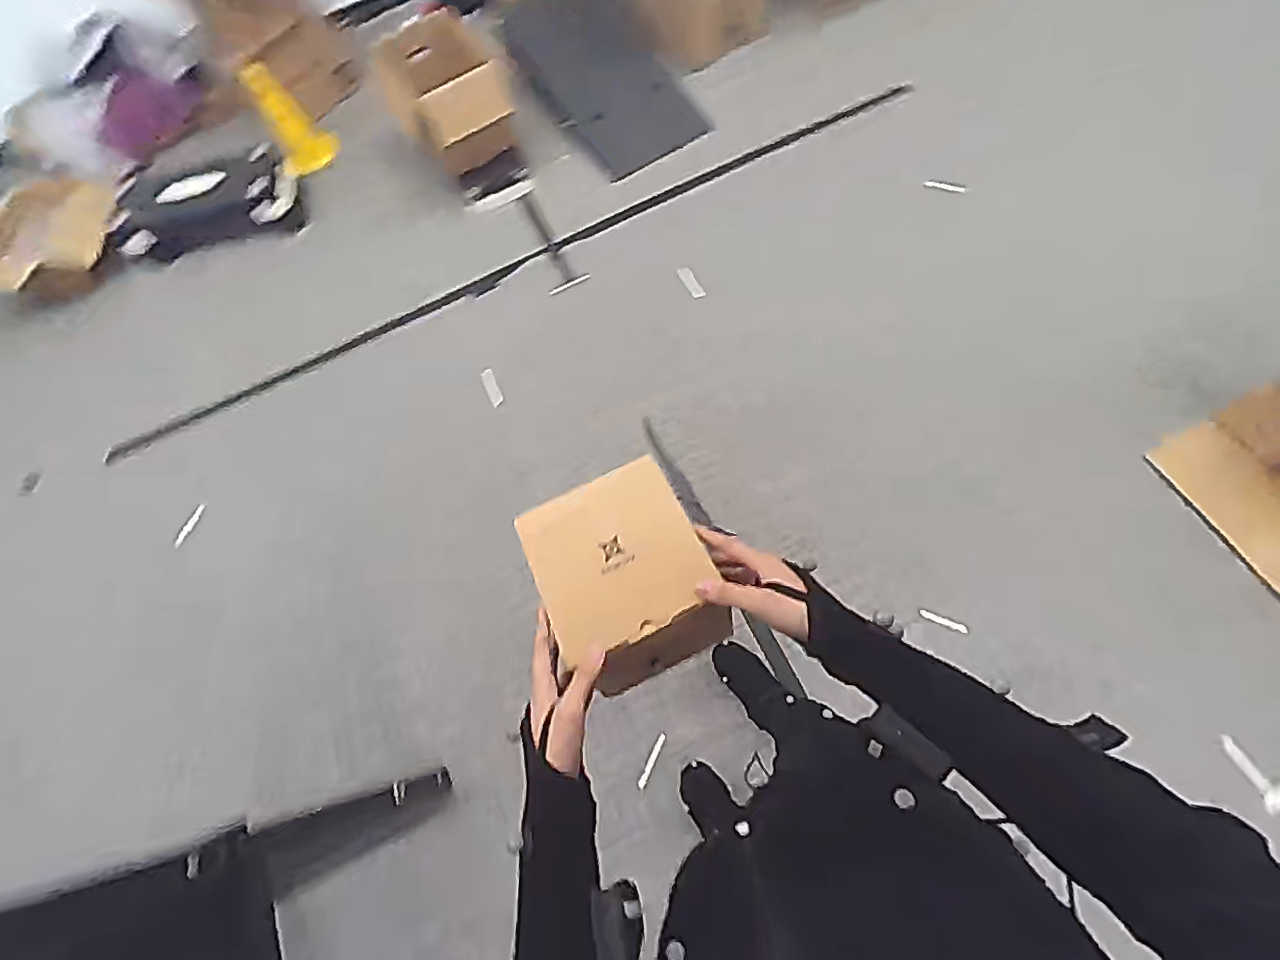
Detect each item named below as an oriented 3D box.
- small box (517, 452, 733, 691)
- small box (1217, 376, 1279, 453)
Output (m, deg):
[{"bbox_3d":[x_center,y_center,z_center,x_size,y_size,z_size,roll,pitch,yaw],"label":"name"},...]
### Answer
[{"bbox_3d":[-0.011,0.107,0.596,0.168,0.176,0.179,-26,60,-4],"label":"small box"},{"bbox_3d":[1.741,-0.199,1.461,0.179,0.176,0.168,-25,67,-3],"label":"small box"}]
